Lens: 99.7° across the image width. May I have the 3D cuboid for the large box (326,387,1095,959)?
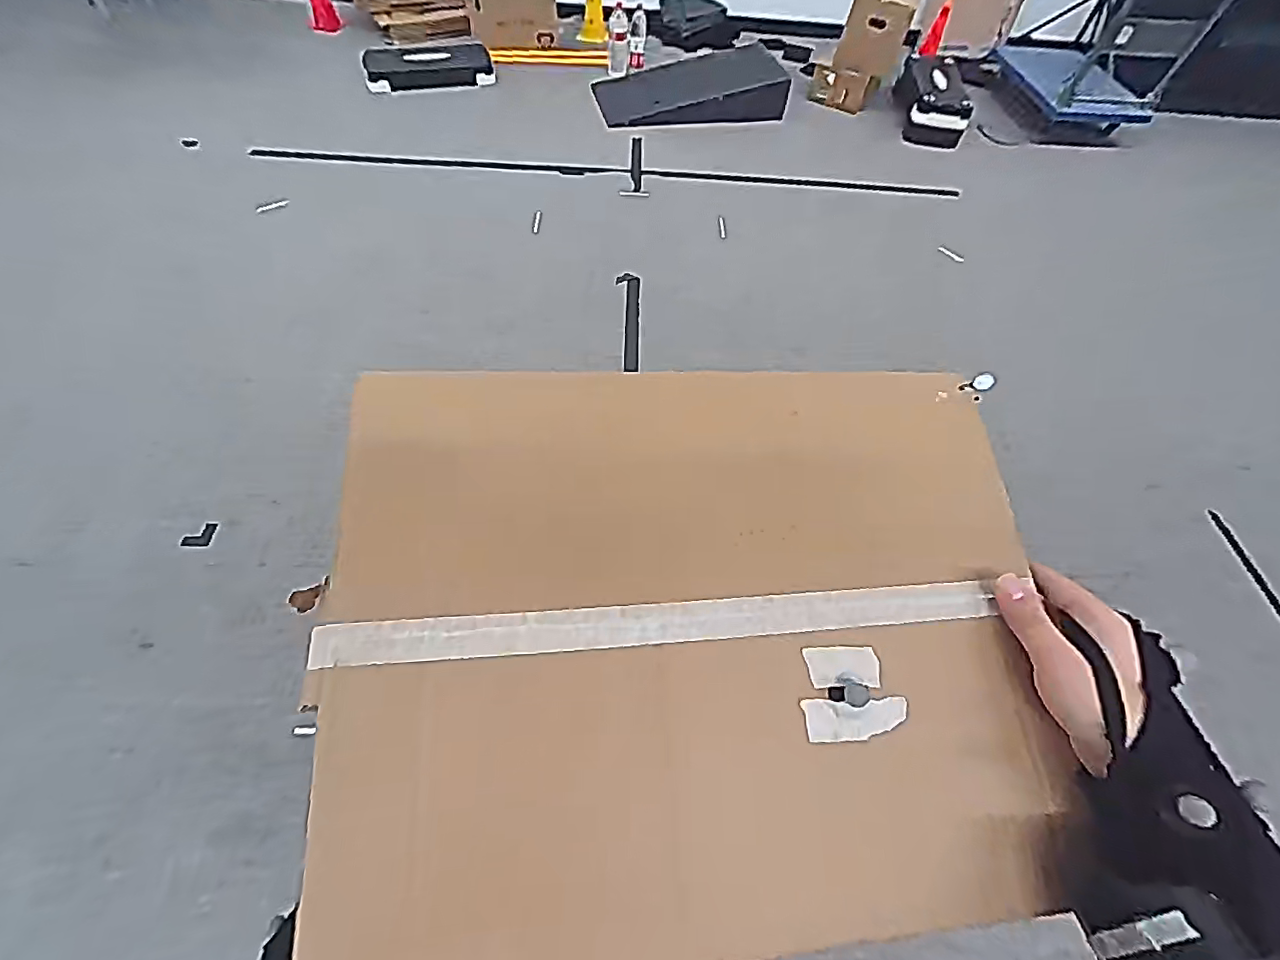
[{"bbox_3d":[0.021,0.134,0.451,0.408,0.320,0.320,-2,71,-9],"label":"large box"}]
